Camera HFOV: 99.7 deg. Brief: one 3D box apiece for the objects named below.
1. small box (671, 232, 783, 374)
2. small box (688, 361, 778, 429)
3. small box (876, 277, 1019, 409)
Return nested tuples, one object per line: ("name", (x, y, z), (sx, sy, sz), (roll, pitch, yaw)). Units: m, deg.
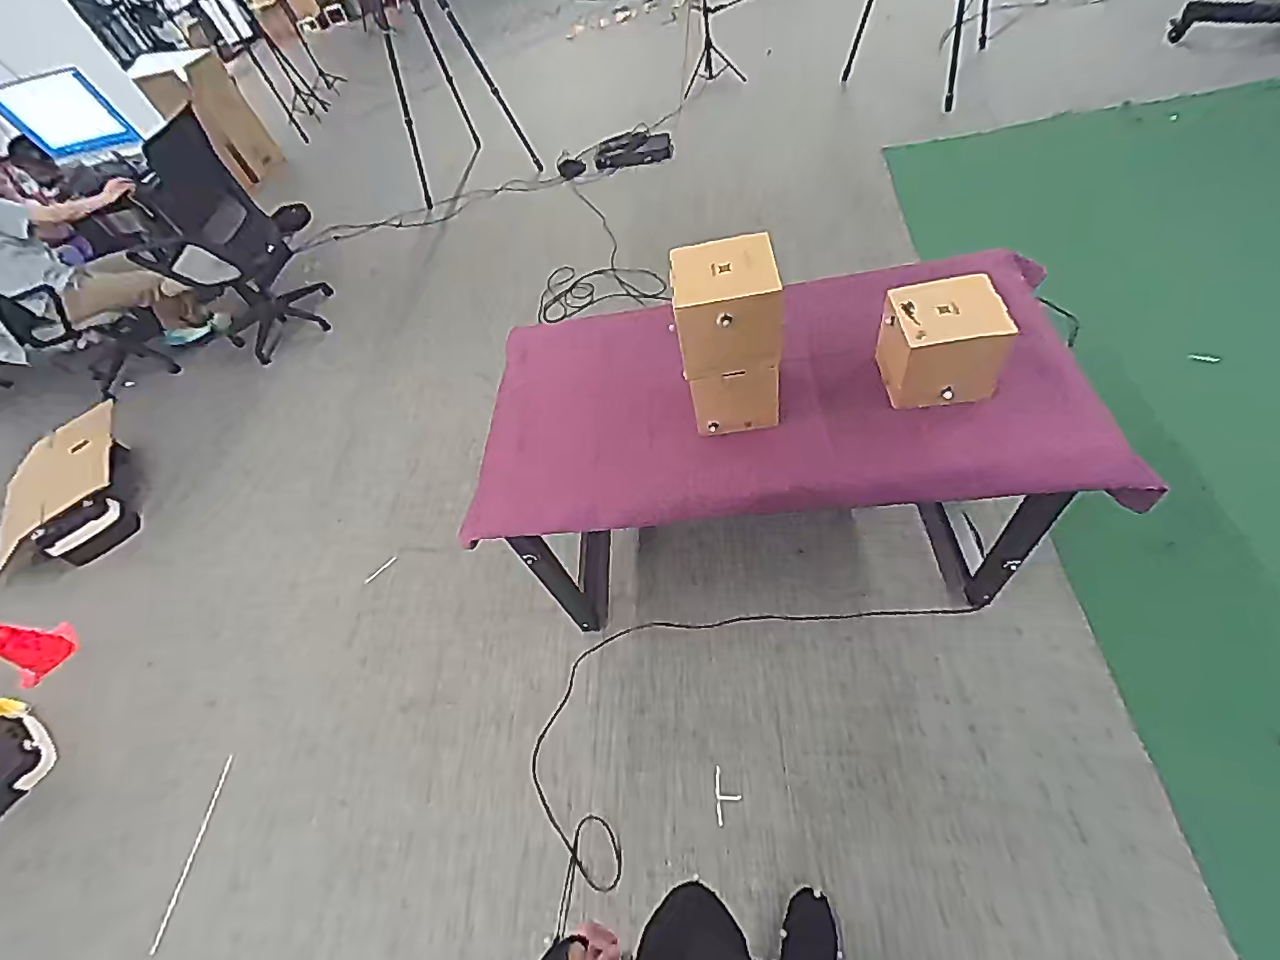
("small box", (0.155, -0.307, 0.962), (0.179, 0.176, 0.168), (-6, 55, 9))
("small box", (0.186, -0.217, 1.094), (0.168, 0.176, 0.179), (-6, 53, 9))
("small box", (0.570, -0.255, 1.028), (0.179, 0.176, 0.168), (-5, 54, 10))
